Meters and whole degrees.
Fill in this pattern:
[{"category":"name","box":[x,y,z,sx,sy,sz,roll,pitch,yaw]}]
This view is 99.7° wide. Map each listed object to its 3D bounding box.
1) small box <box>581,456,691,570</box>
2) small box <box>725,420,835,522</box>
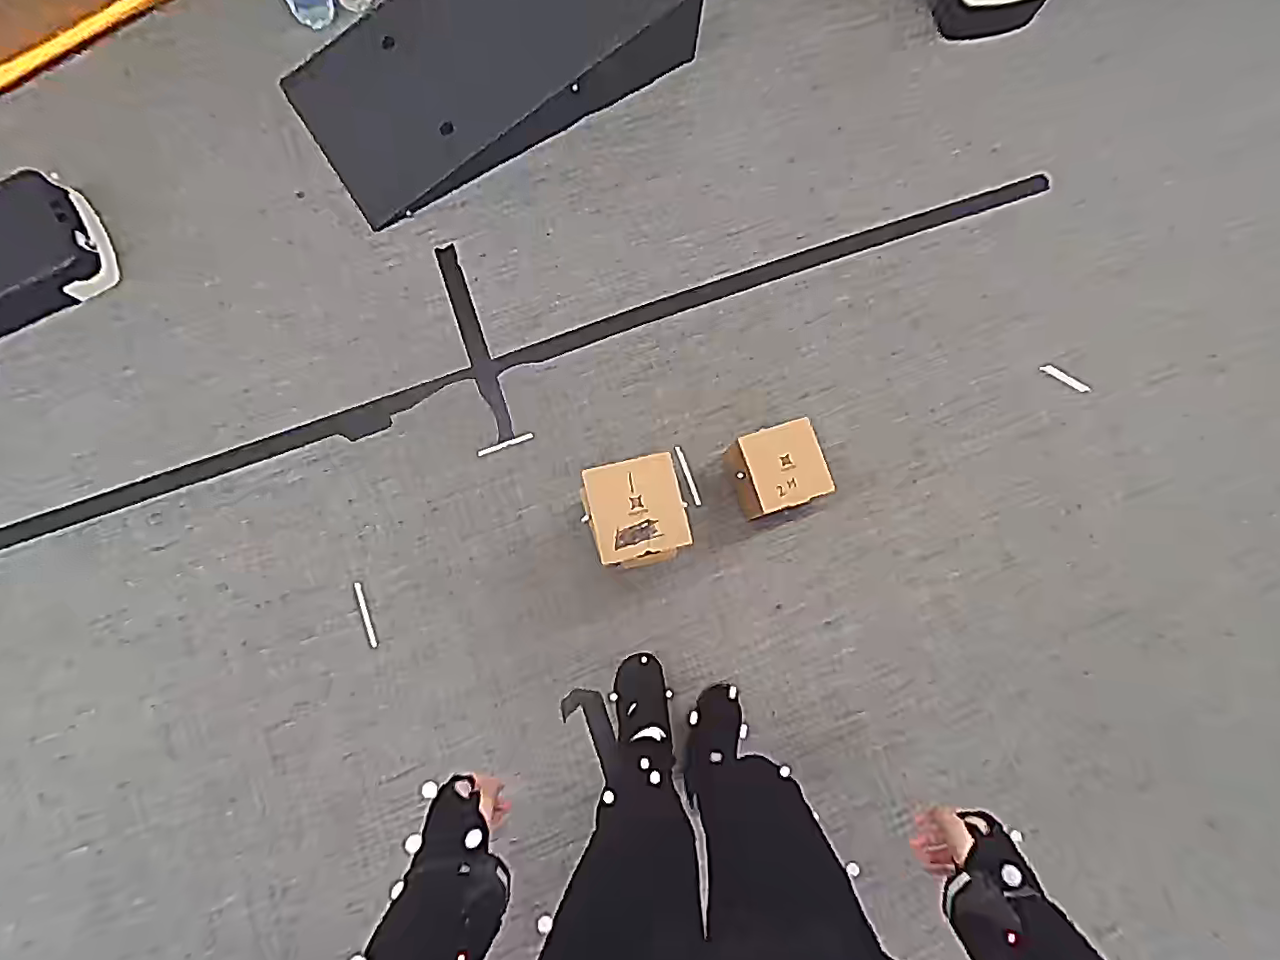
[{"category":"small box","box":[-0.010,0.067,1.026,0.168,0.176,0.179,-13,81,-5]},{"category":"small box","box":[0.306,-0.013,1.223,0.168,0.176,0.179,-17,83,-5]}]
